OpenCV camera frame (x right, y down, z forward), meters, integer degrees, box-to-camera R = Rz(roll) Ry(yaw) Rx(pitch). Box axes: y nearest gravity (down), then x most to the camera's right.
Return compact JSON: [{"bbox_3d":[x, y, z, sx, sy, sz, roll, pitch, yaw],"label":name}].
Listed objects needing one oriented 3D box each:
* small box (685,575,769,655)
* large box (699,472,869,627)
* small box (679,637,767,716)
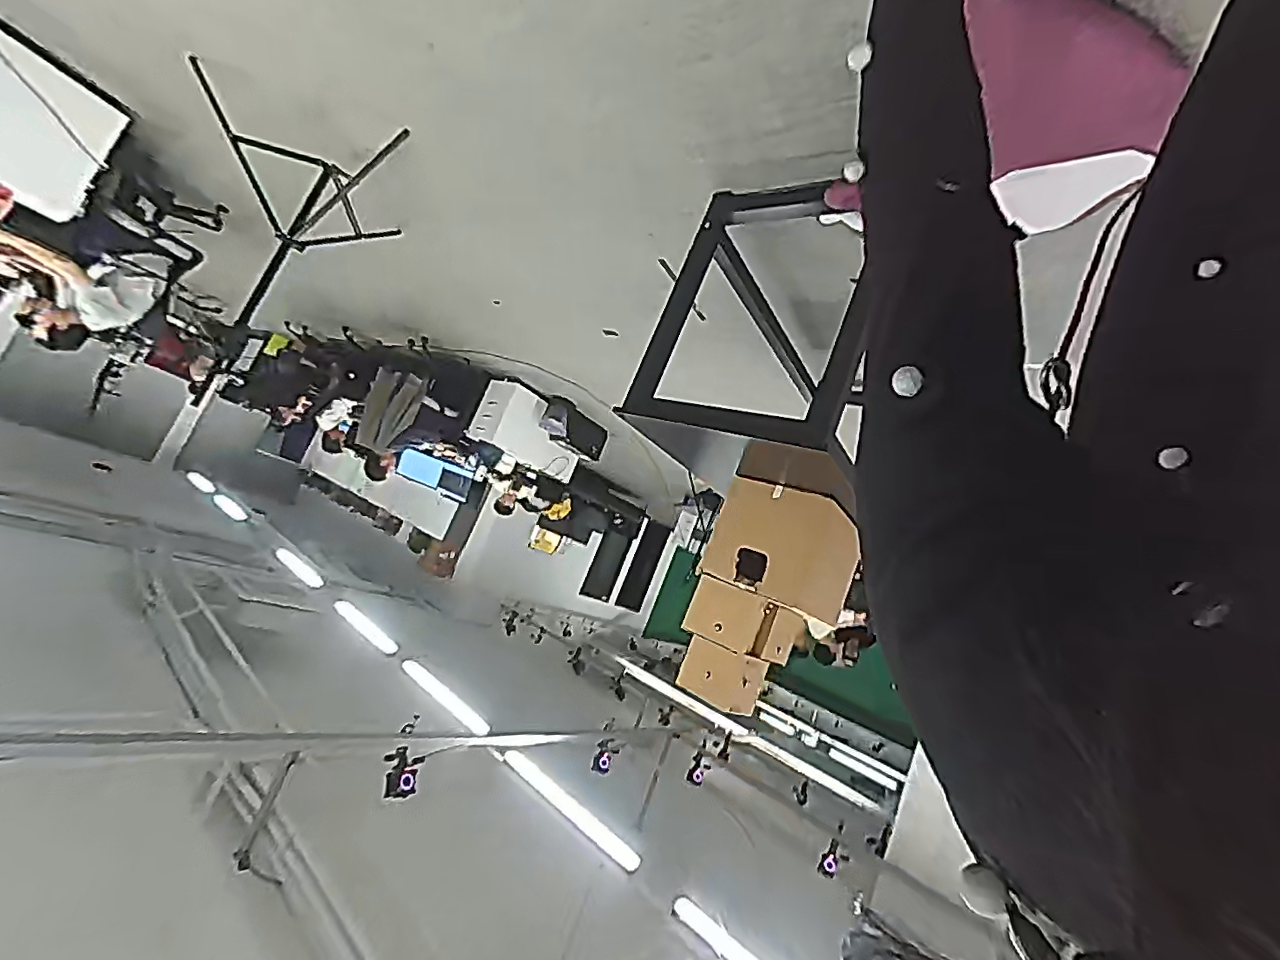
[{"bbox_3d":[0.256,0.384,1.546,0.179,0.176,0.168,19,171,29],"label":"small box"},{"bbox_3d":[0.450,0.212,1.636,0.320,0.320,0.408,14,167,40],"label":"large box"},{"bbox_3d":[0.251,0.567,1.585,0.168,0.176,0.179,29,168,-37],"label":"small box"}]
